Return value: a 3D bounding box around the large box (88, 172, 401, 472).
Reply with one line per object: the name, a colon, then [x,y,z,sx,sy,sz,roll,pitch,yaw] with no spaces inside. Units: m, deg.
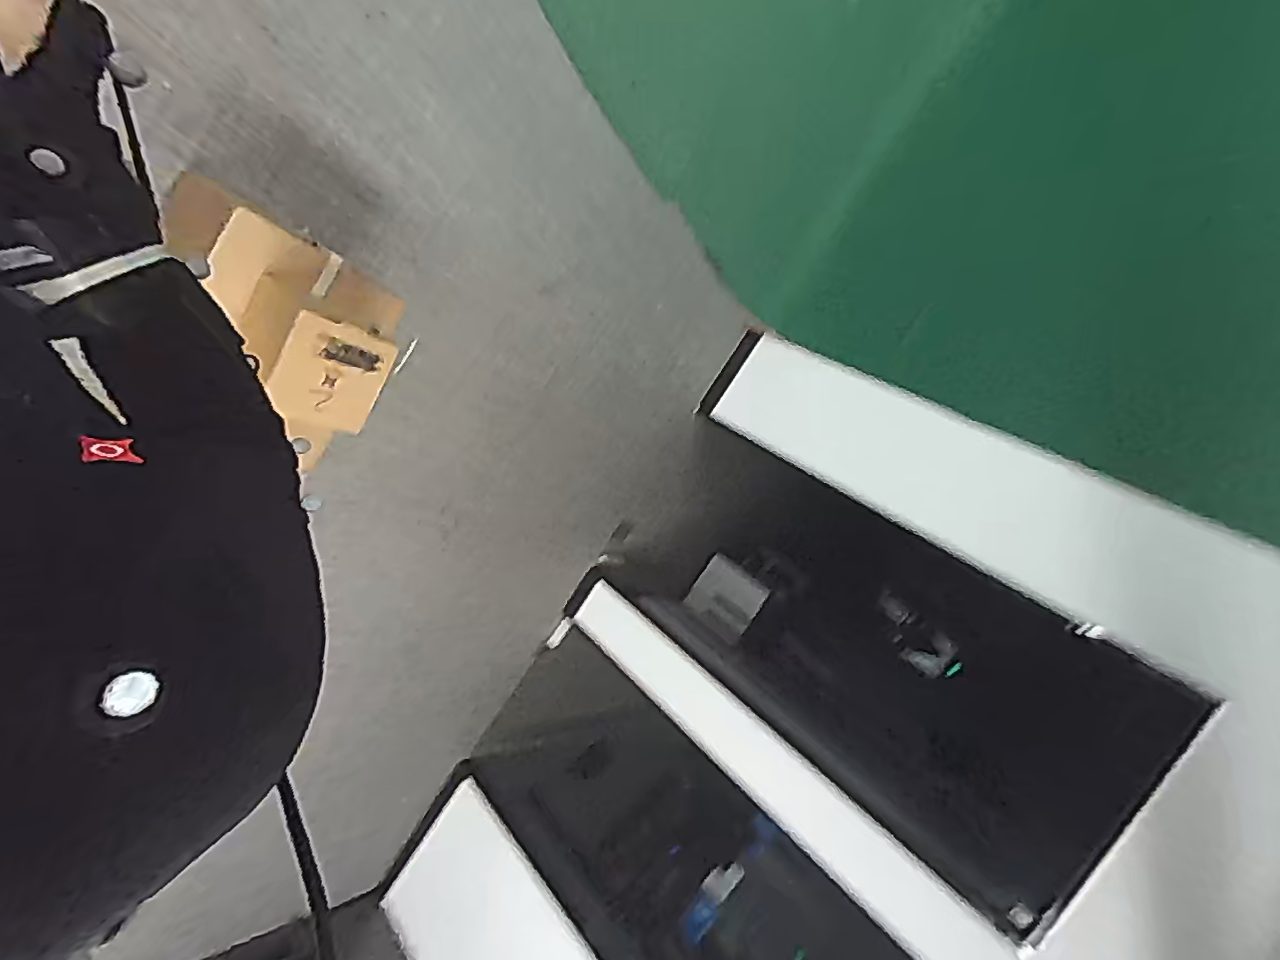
large box: [-0.752,-0.289,1.041,0.408,0.320,0.320,-56,148,5]
